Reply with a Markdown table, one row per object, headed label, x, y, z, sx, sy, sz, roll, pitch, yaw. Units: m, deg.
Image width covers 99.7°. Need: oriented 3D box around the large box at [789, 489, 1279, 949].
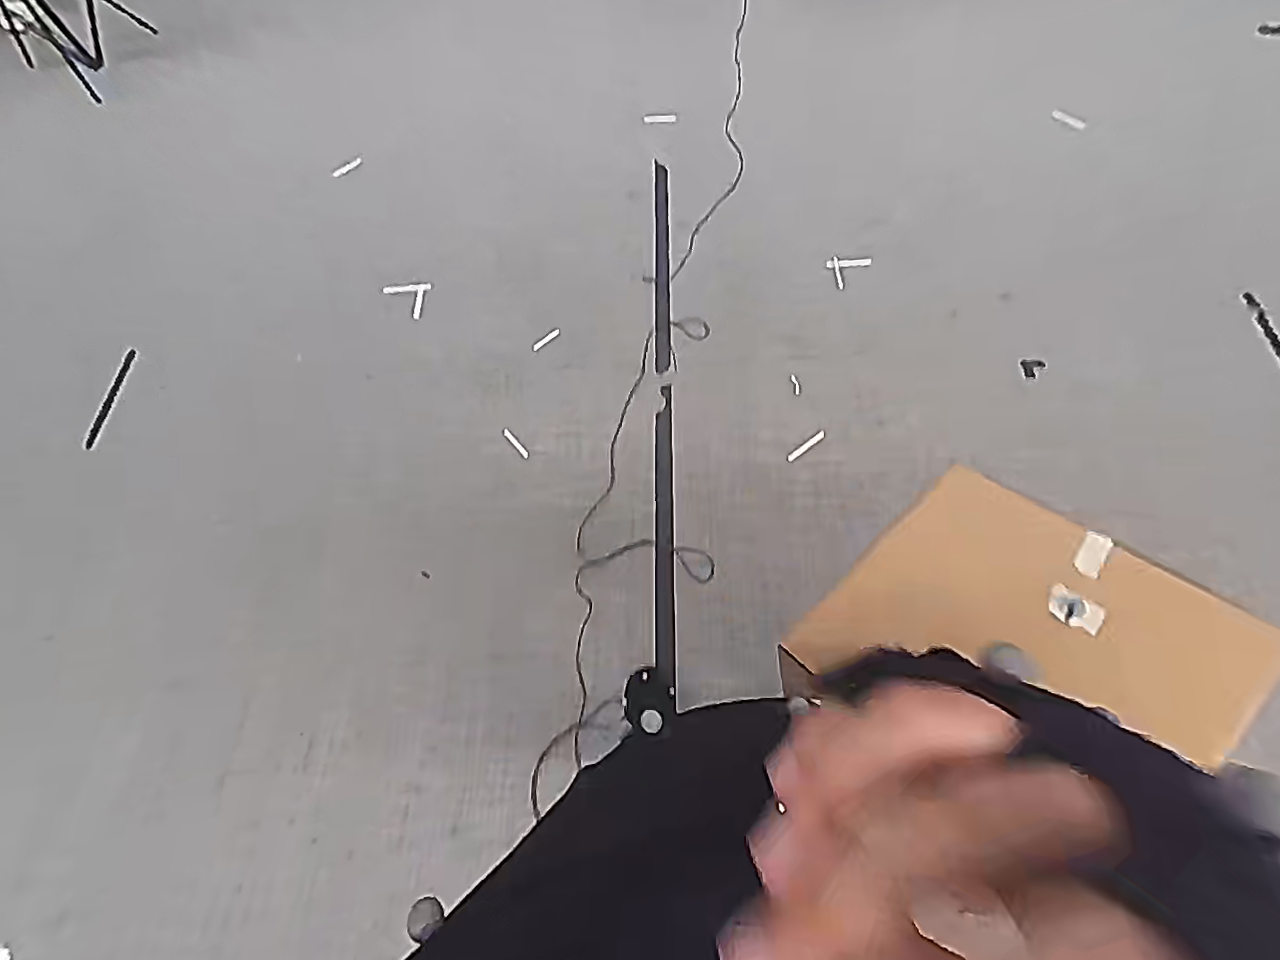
| label | x | y | z | sx | sy | sz | roll | pitch | yaw |
| --- | --- | --- | --- | --- | --- | --- | --- | --- | --- |
| large box | 0.416 | 0.289 | 0.668 | 0.320 | 0.408 | 0.320 | -39 | 51 | -12 |
